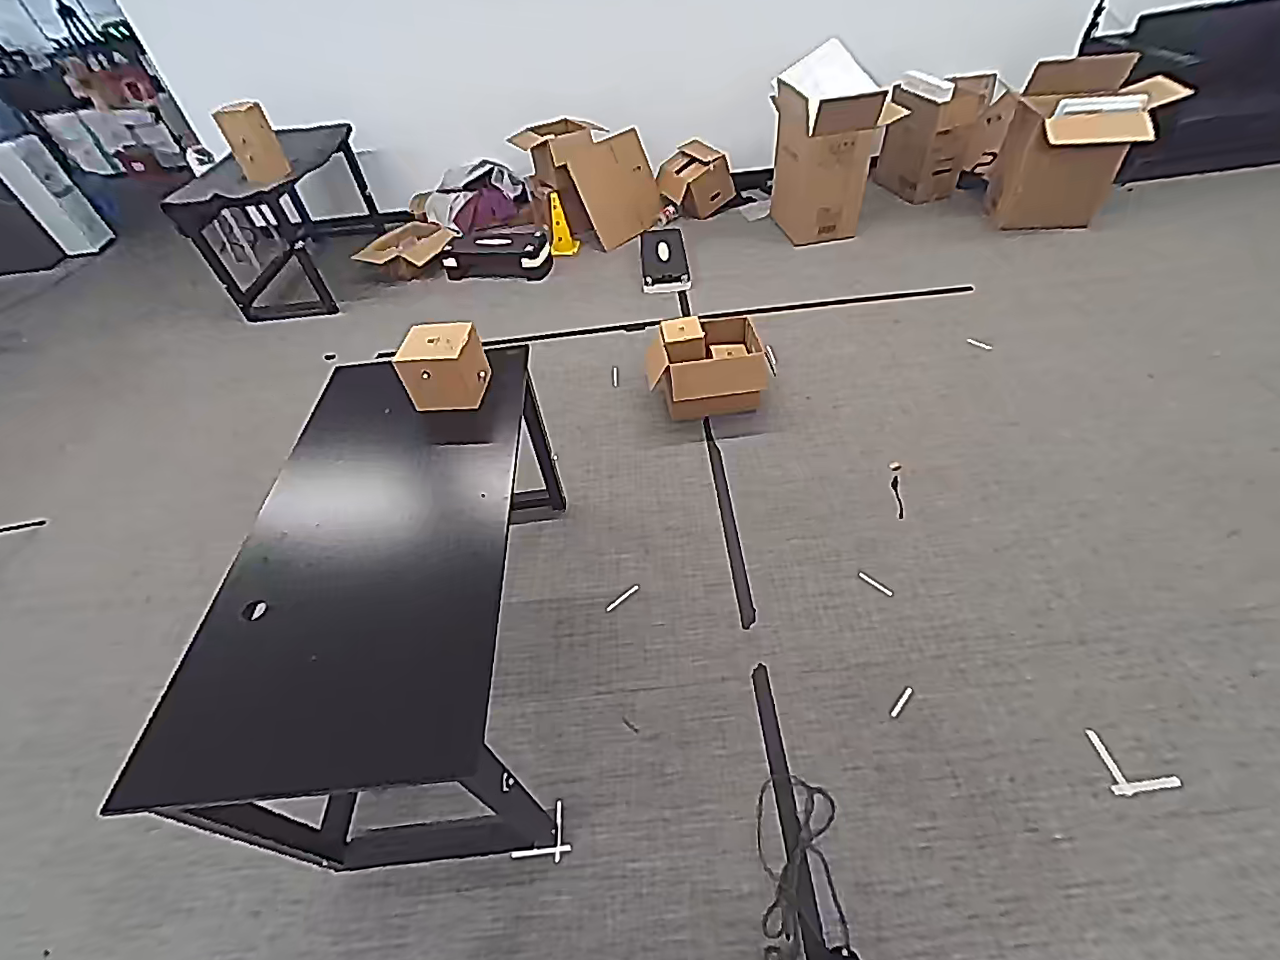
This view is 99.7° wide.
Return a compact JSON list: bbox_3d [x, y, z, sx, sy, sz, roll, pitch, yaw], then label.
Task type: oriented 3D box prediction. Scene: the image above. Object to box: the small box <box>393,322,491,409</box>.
[{"bbox_3d":[-0.527,-0.306,1.465,0.179,0.176,0.168,-1,49,6],"label":"small box"}]
